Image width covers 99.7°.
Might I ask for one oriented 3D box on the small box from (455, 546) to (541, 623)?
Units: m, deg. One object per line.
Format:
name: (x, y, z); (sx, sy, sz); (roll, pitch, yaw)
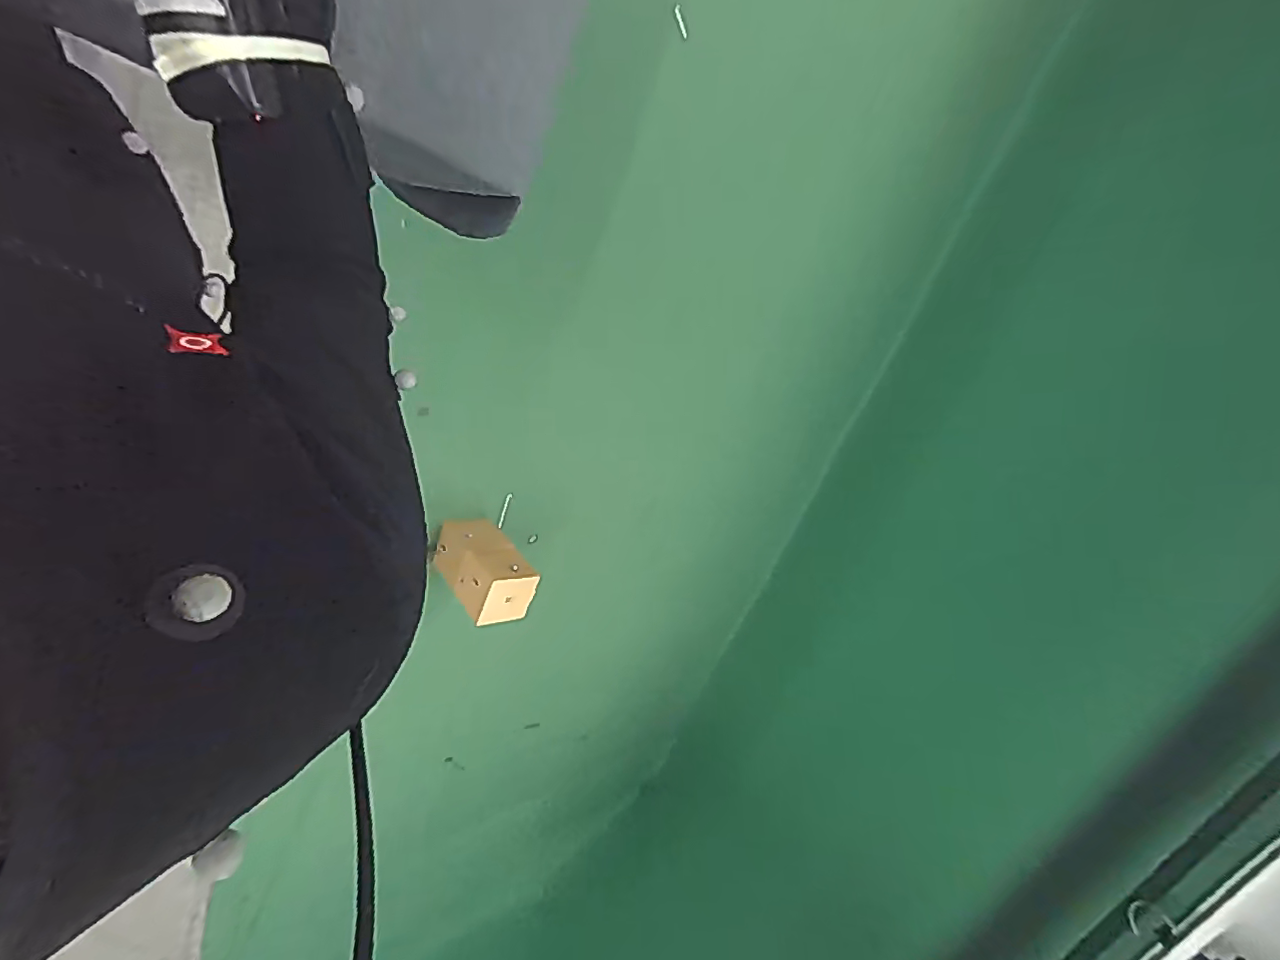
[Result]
small box: (-0.447, 0.319, 1.683); (0.179, 0.176, 0.168); (4, 116, -50)
